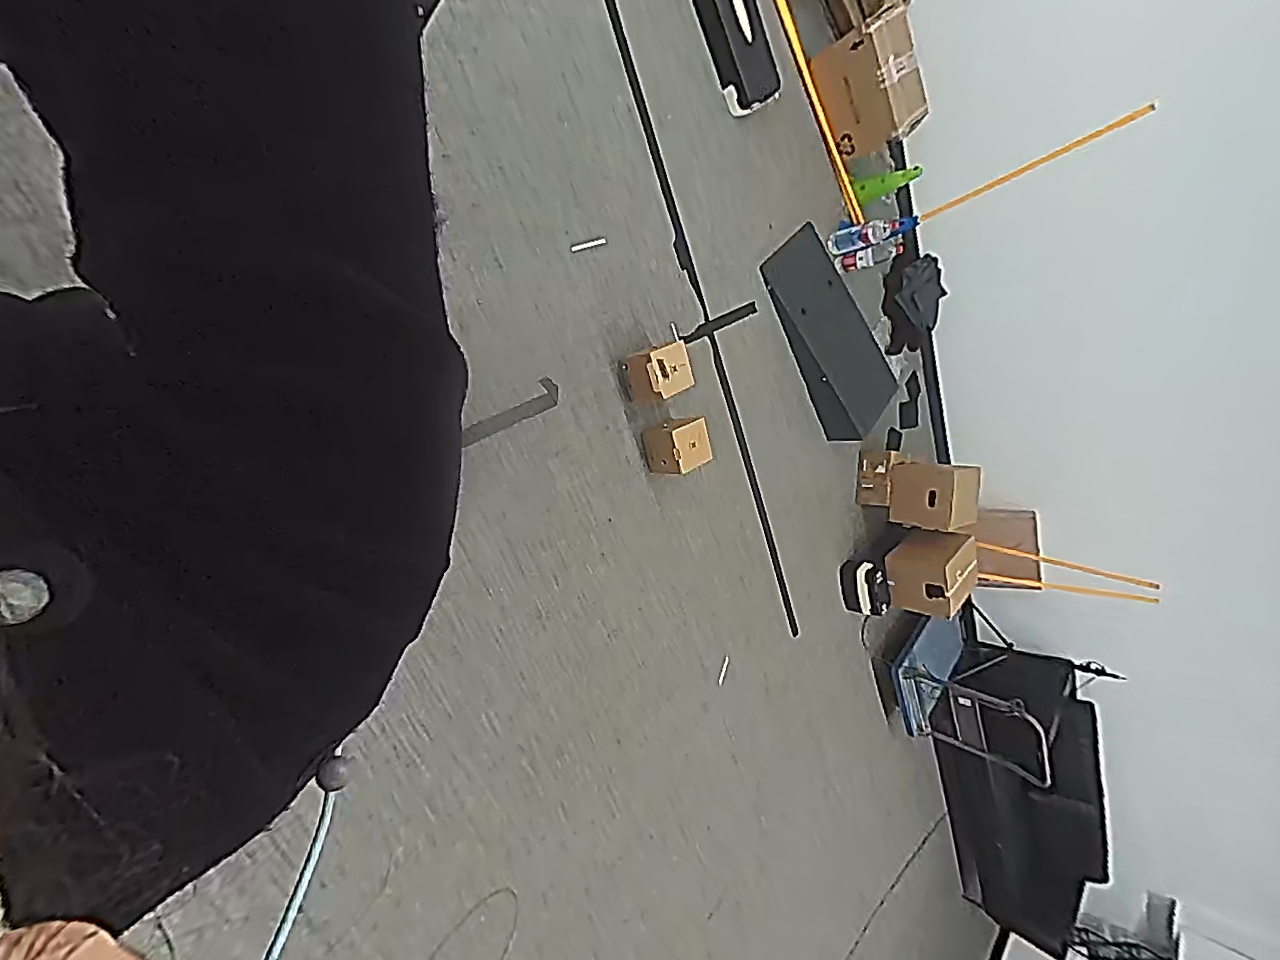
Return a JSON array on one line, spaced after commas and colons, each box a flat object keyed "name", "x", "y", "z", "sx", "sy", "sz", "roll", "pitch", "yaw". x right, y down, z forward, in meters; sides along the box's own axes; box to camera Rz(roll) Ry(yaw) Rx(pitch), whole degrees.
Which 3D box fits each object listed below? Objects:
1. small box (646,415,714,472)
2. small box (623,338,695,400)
[{"name": "small box", "x": 0.142, "y": -0.134, "z": 2.007, "sx": 0.179, "sy": 0.176, "sz": 0.168, "roll": -28, "pitch": 111, "yaw": -37}, {"name": "small box", "x": 0.060, "y": -0.390, "z": 1.919, "sx": 0.179, "sy": 0.176, "sz": 0.168, "roll": -32, "pitch": 113, "yaw": -36}]
